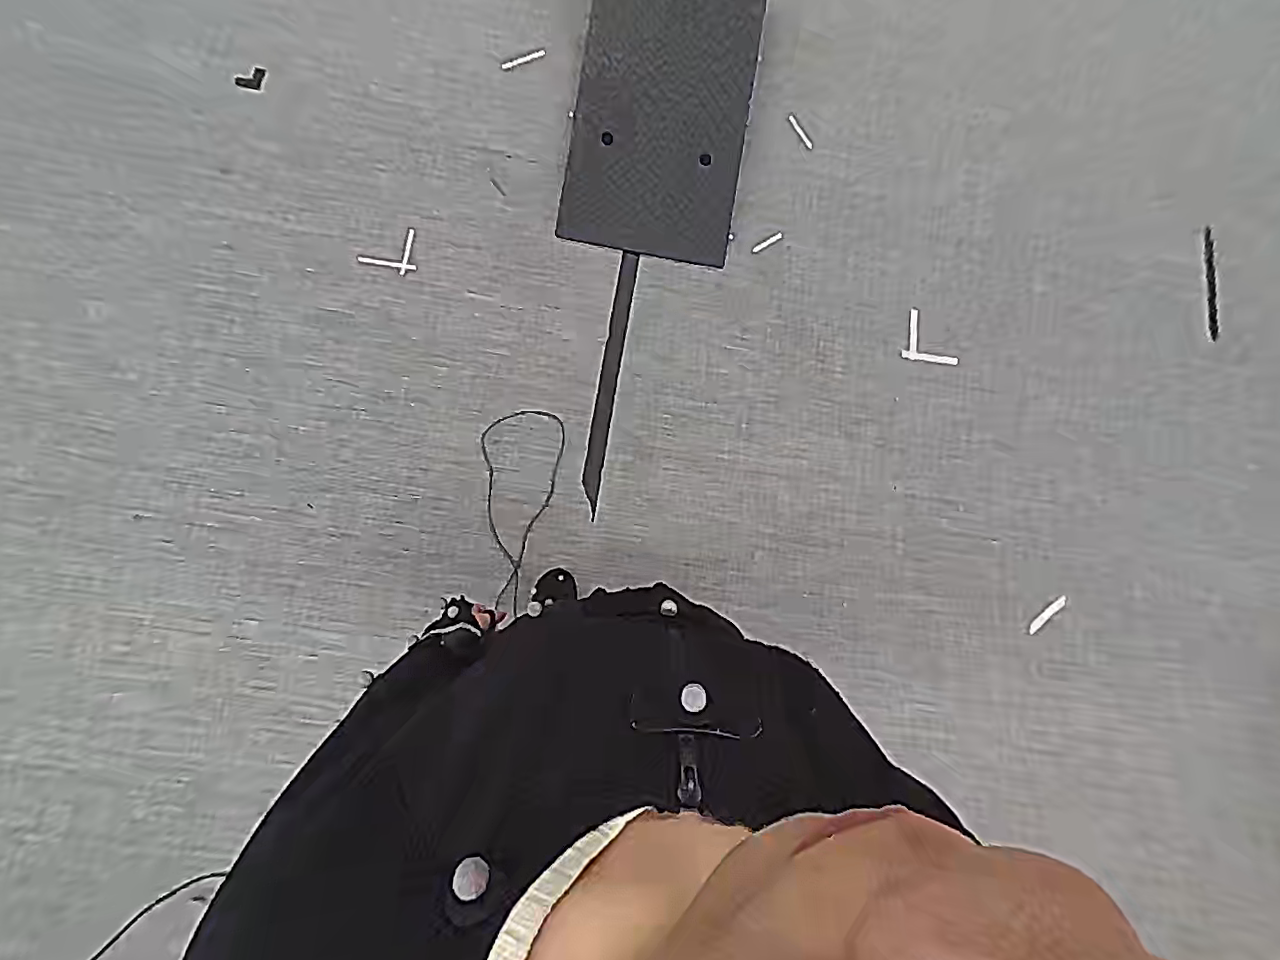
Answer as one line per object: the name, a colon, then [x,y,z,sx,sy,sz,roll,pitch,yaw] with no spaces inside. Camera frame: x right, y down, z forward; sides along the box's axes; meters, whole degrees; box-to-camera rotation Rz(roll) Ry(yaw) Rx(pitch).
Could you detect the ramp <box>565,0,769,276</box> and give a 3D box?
ramp: [0.092,-1.117,1.562,0.509,0.206,0.991,7,80,-5]
